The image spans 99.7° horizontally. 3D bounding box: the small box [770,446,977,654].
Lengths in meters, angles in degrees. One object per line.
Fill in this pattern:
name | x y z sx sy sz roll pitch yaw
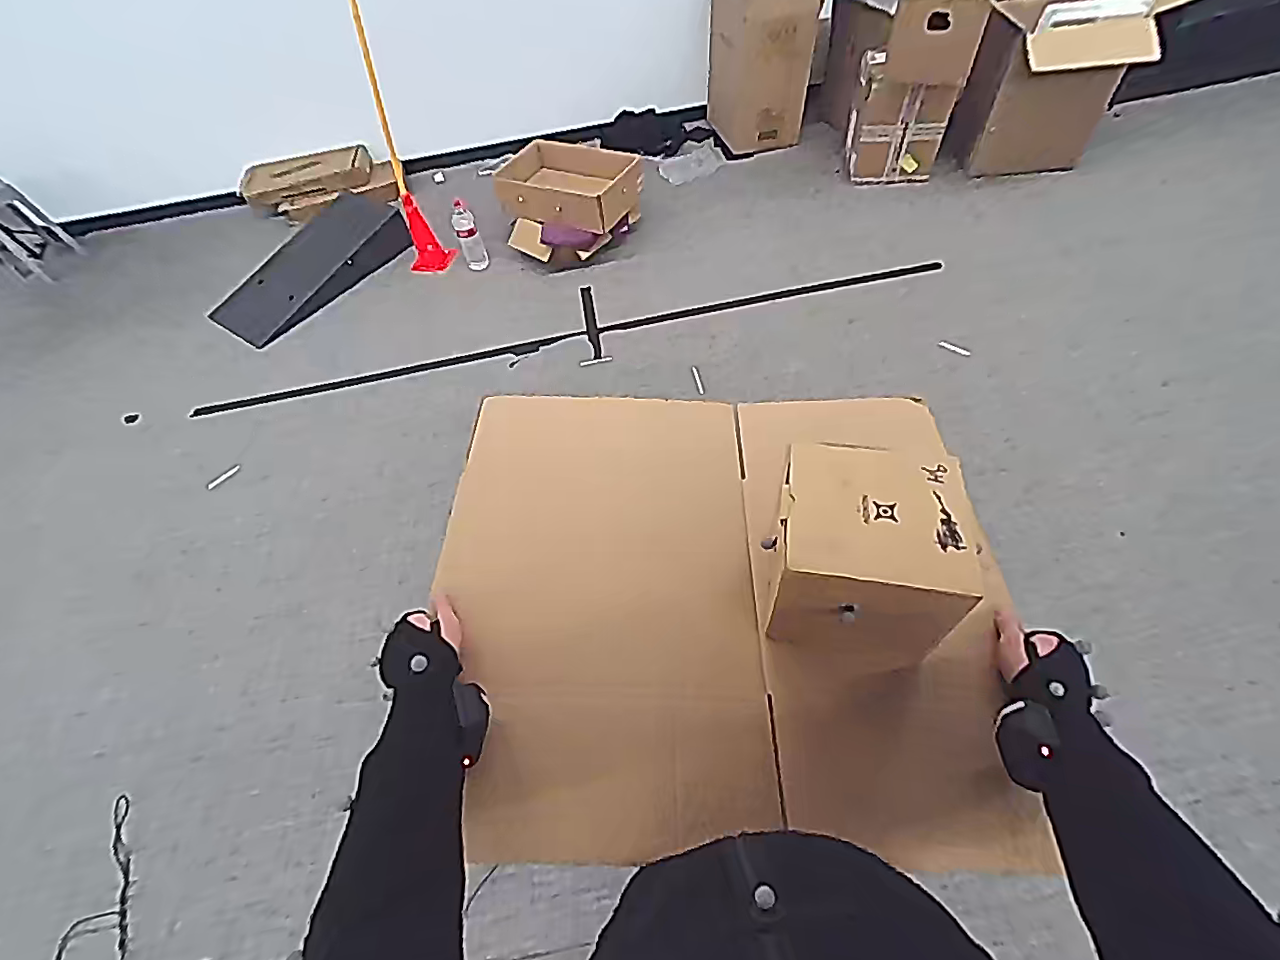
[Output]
small box | 0.245 0.082 0.613 0.179 0.176 0.168 6 54 11
